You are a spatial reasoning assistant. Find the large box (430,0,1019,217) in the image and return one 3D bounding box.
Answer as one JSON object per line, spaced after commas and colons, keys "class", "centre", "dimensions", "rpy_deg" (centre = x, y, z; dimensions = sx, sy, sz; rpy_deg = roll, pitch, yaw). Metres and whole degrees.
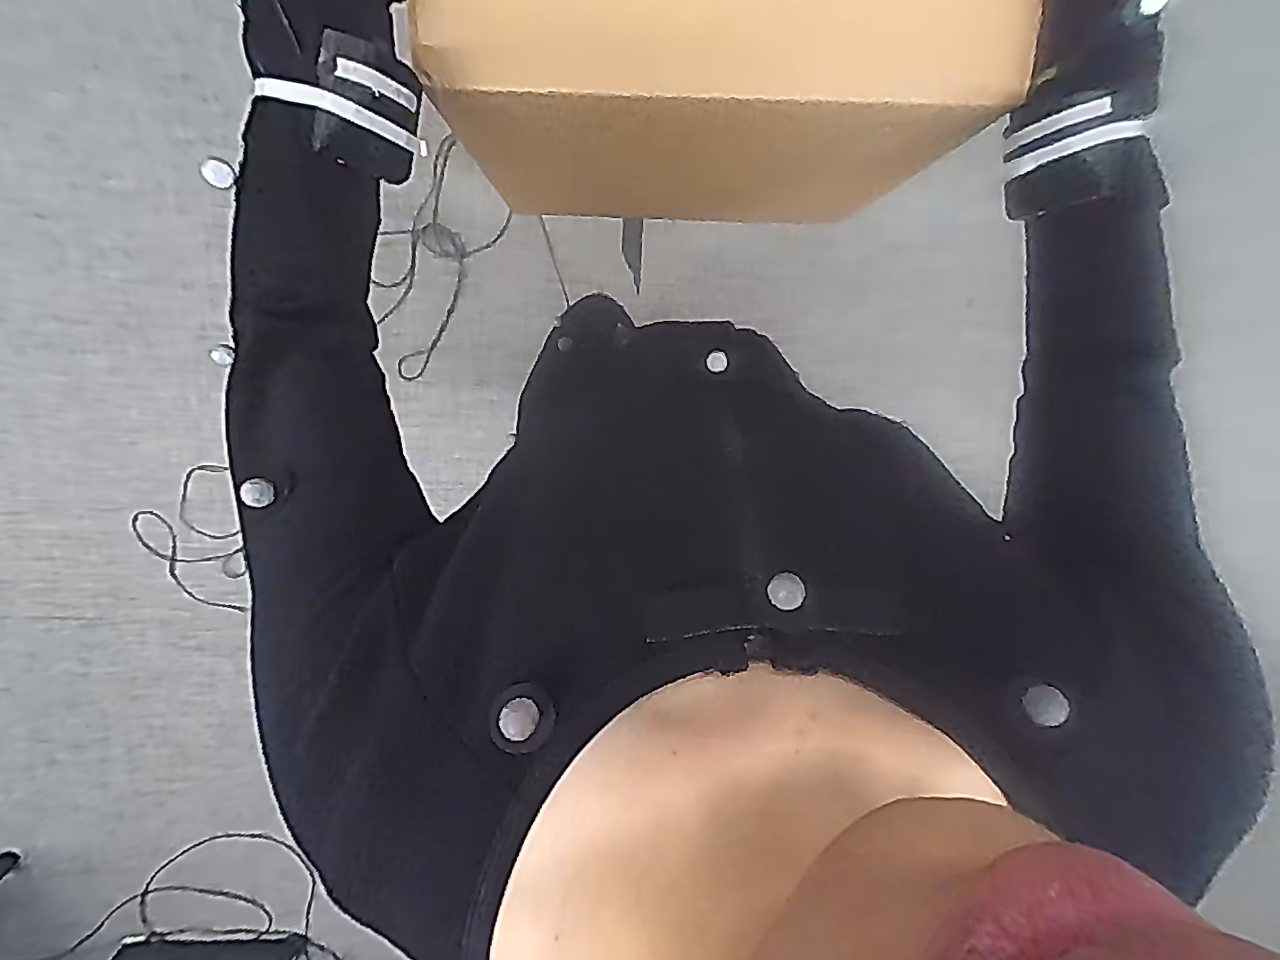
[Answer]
{"class": "large box", "centre": [0.052, -0.443, 0.487], "dimensions": [0.408, 0.320, 0.320], "rpy_deg": [0, 102, -2]}
